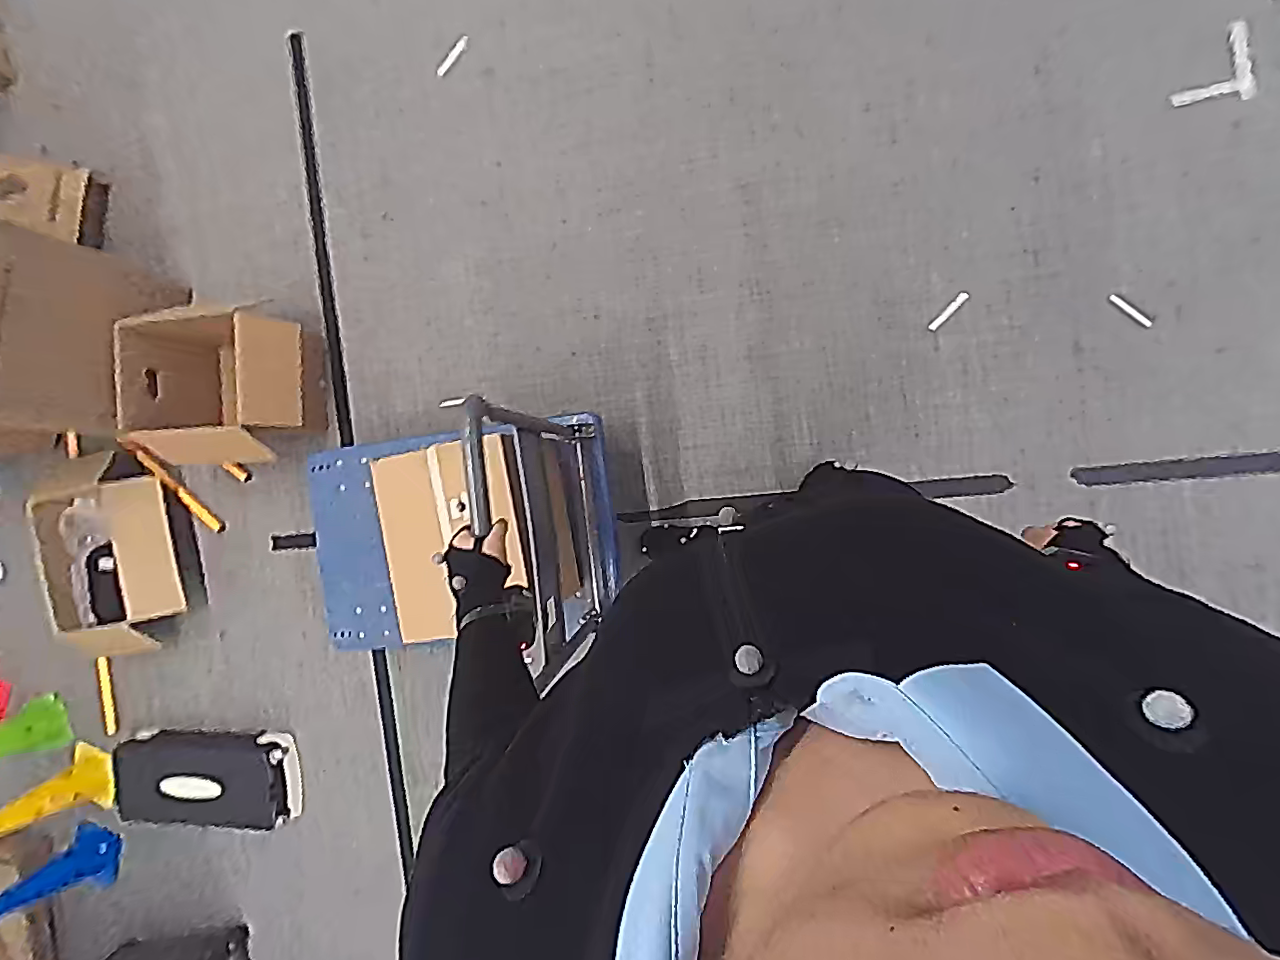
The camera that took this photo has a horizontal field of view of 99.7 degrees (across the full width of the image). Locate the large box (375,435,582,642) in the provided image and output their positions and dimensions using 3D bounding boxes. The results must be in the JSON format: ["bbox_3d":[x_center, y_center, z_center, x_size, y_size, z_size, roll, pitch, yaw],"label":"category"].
[{"bbox_3d":[-0.361,0.127,1.286,0.320,0.320,0.408,-11,89,11],"label":"large box"}]
